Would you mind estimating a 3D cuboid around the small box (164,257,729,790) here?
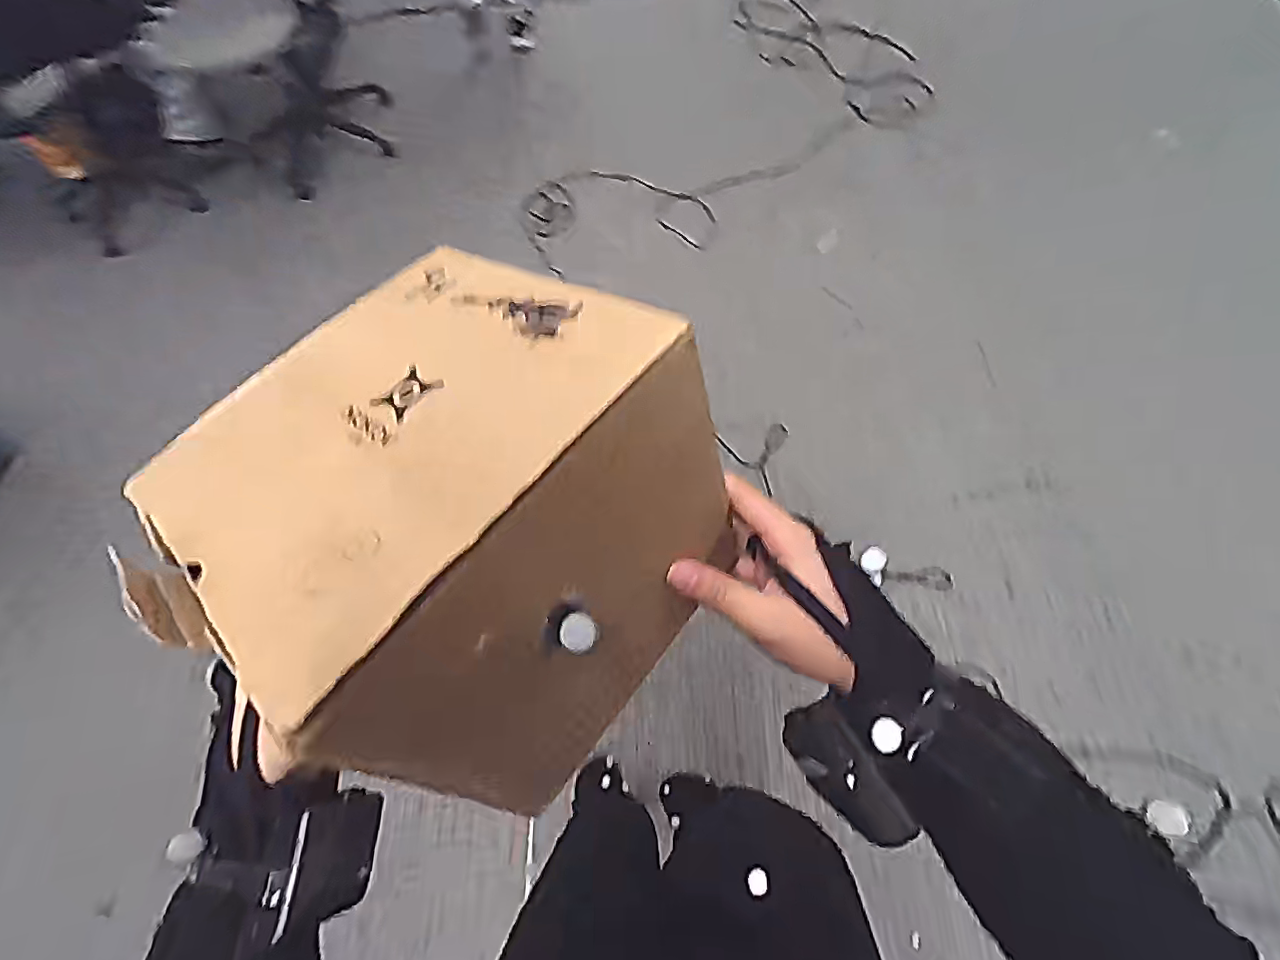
[{"bbox_3d":[-0.071,0.023,0.275,0.168,0.176,0.179,29,67,33],"label":"small box"}]
